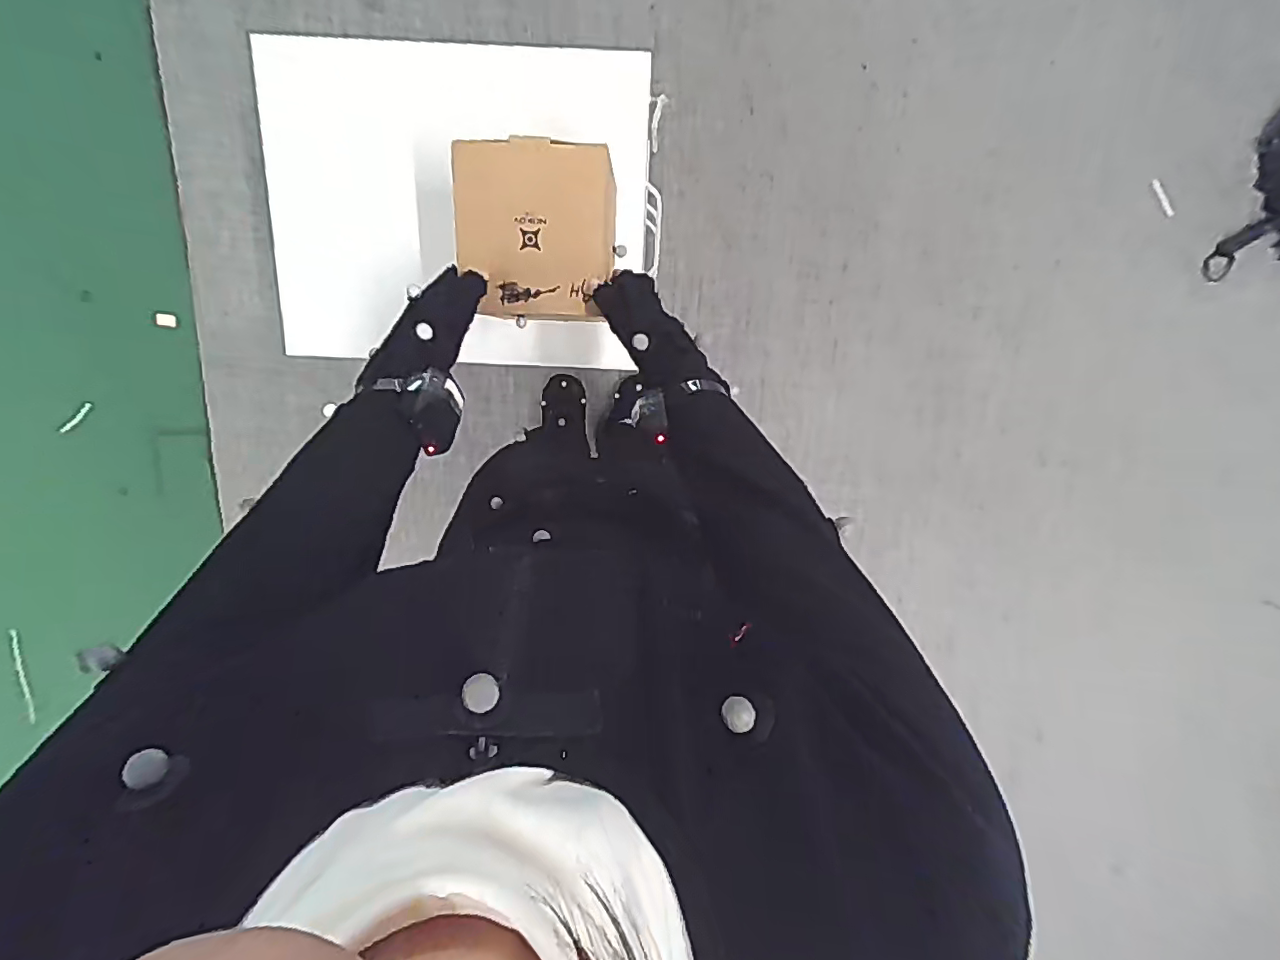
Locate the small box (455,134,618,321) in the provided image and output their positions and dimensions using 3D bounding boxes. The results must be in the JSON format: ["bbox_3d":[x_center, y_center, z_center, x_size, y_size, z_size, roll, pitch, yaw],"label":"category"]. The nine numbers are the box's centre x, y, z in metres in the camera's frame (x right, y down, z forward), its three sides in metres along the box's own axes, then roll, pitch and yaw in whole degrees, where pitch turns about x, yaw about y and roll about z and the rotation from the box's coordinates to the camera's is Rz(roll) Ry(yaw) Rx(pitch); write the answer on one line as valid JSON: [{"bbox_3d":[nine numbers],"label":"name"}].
[{"bbox_3d":[-0.116,-0.294,0.664,0.168,0.176,0.179,2,104,1],"label":"small box"}]
